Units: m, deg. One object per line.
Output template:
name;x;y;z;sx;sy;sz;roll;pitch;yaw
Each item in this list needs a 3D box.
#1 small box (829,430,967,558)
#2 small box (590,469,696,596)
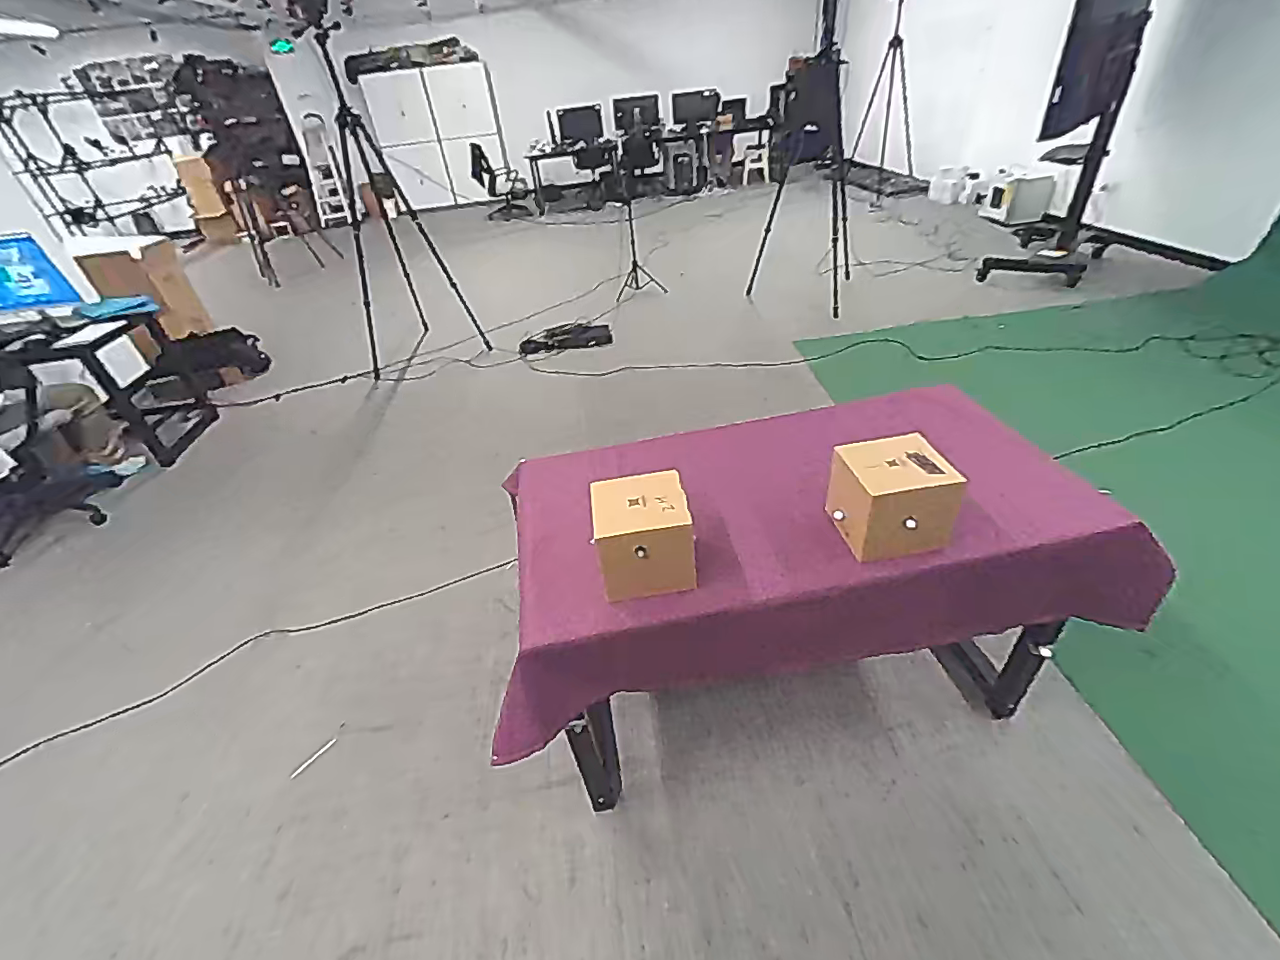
small box;0.486;0.028;1.050;0.179;0.176;0.168;-10;37;-1
small box;0.006;0.103;1.037;0.179;0.176;0.168;-9;37;-1
